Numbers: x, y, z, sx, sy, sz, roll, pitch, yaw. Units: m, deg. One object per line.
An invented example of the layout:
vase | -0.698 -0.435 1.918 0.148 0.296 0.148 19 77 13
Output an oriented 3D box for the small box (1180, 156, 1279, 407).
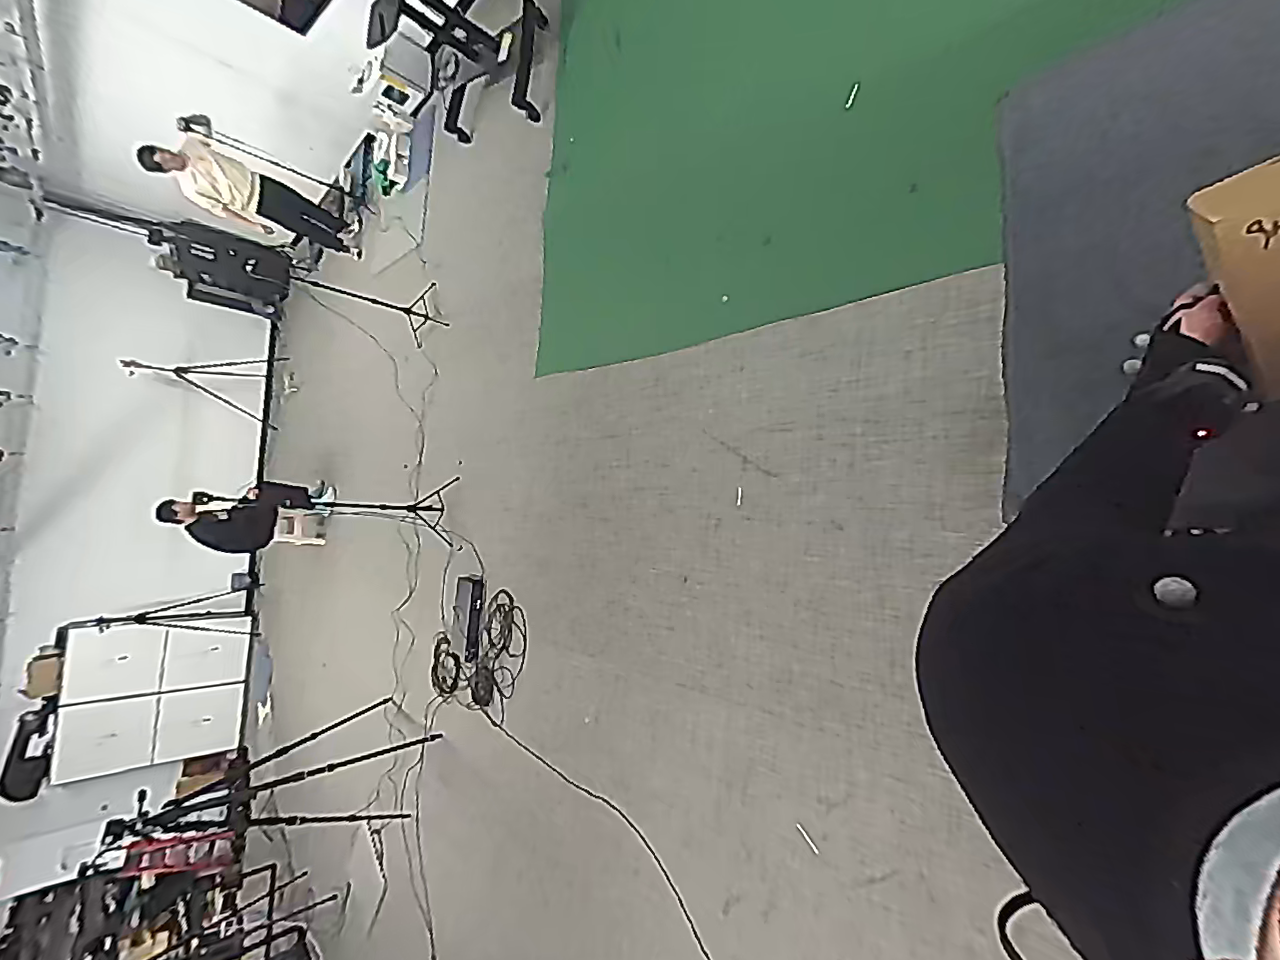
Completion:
small box | 0.600 -0.192 0.456 0.168 0.176 0.179 -21 103 45
